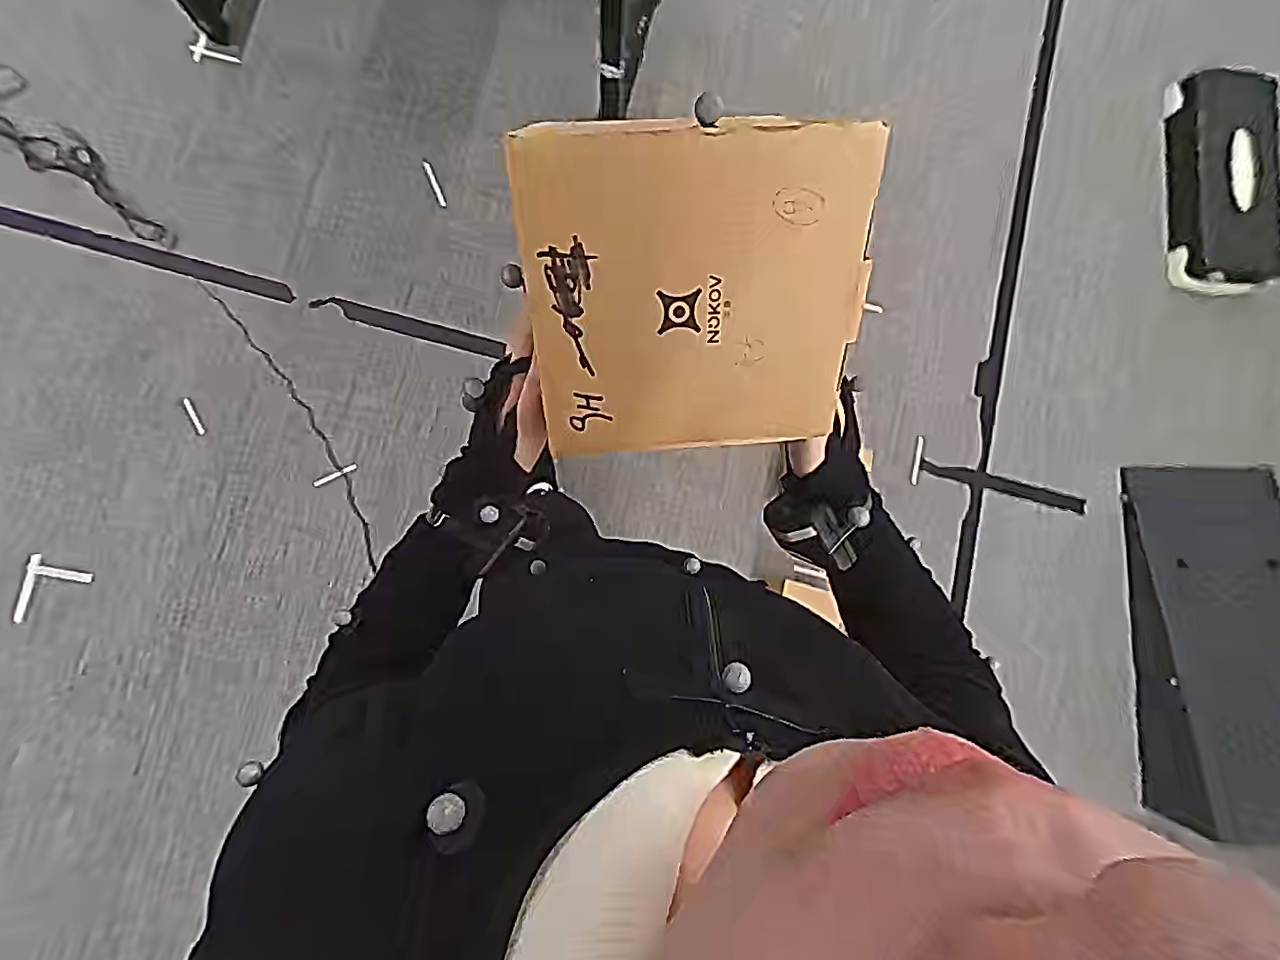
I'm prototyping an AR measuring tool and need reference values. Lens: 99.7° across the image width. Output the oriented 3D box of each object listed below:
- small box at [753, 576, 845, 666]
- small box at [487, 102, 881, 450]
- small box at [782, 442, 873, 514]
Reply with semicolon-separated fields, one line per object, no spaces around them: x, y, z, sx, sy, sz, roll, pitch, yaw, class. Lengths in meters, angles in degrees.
0.412;0.365;1.430;0.168;0.176;0.179;17;84;-3;small box
0.015;-0.136;0.341;0.179;0.176;0.168;-5;124;-3;small box
0.498;0.001;1.460;0.179;0.176;0.168;9;86;-4;small box
